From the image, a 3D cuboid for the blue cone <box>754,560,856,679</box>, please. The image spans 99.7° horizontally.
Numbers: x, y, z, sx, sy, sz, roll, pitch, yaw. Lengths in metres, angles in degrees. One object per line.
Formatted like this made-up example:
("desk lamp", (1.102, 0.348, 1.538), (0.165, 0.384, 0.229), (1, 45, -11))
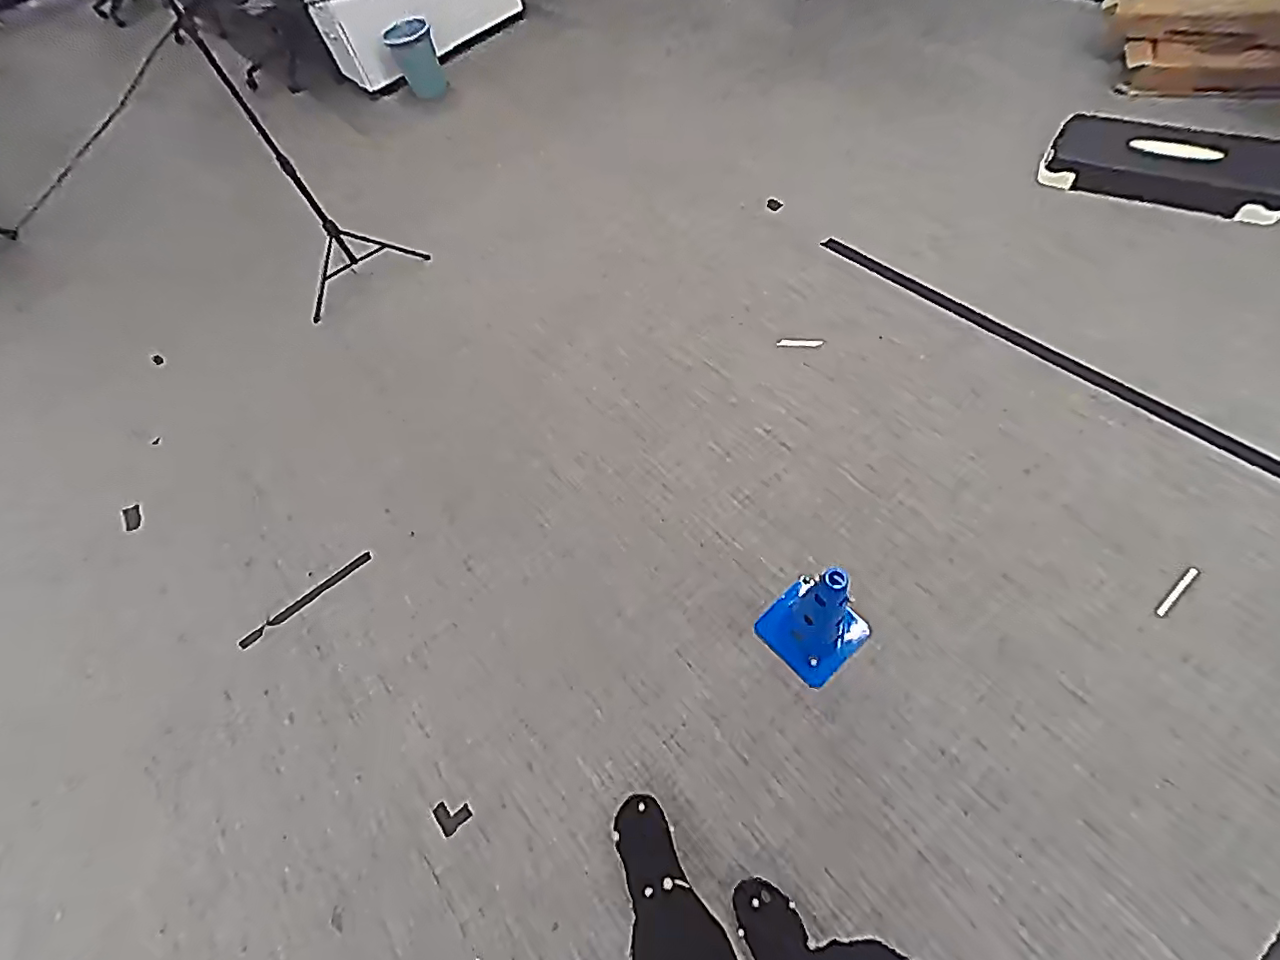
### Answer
("blue cone", (0.360, 0.260, 1.125), (0.193, 0.380, 0.192), (-39, 60, -13))
